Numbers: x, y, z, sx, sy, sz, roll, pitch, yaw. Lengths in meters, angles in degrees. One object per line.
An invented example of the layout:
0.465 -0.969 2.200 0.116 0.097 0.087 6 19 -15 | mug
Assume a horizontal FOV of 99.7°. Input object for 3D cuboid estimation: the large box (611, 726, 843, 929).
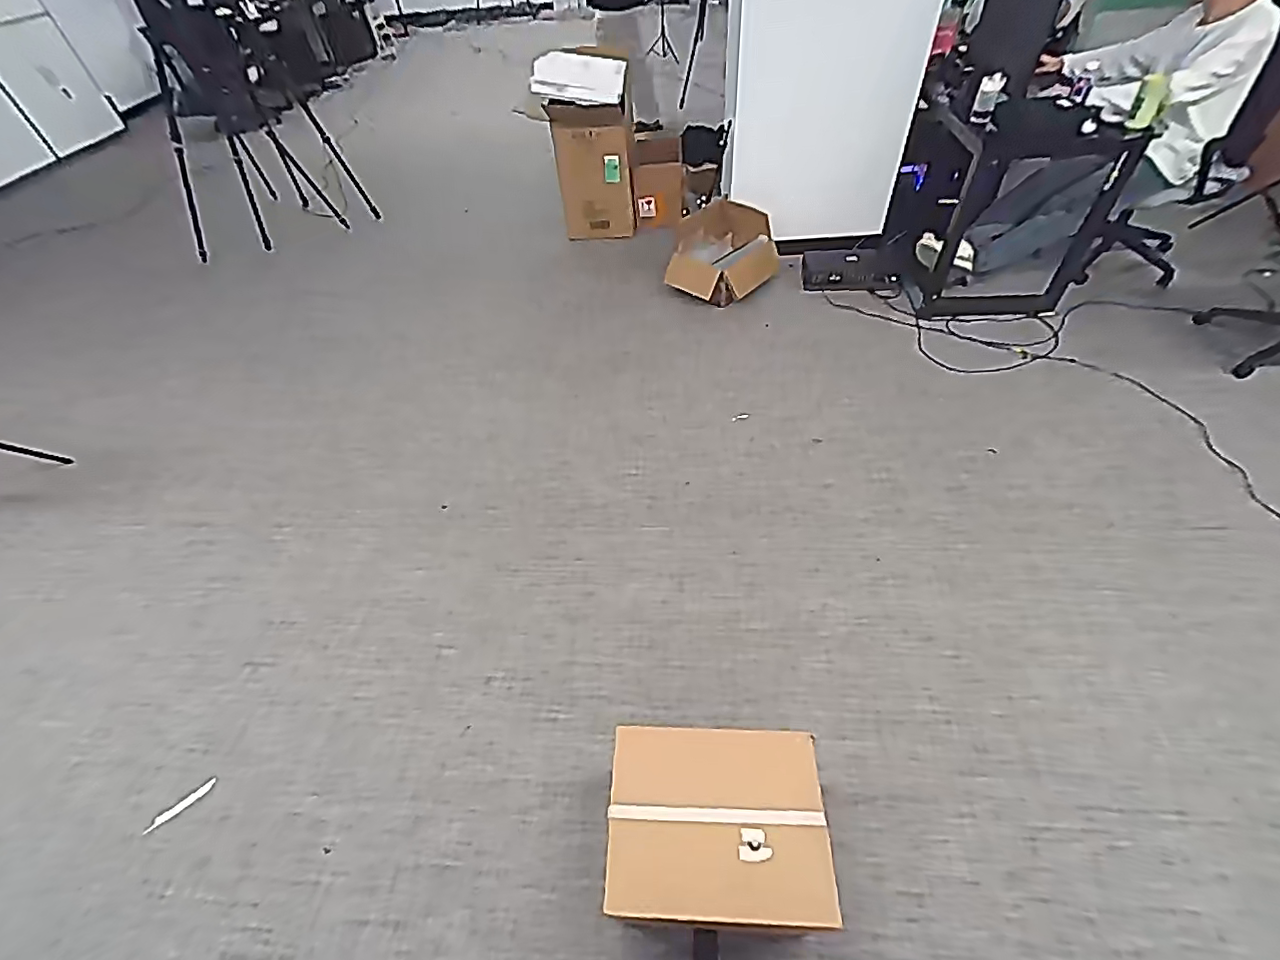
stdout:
0.156 0.727 1.129 0.408 0.320 0.320 0 49 4 | large box
